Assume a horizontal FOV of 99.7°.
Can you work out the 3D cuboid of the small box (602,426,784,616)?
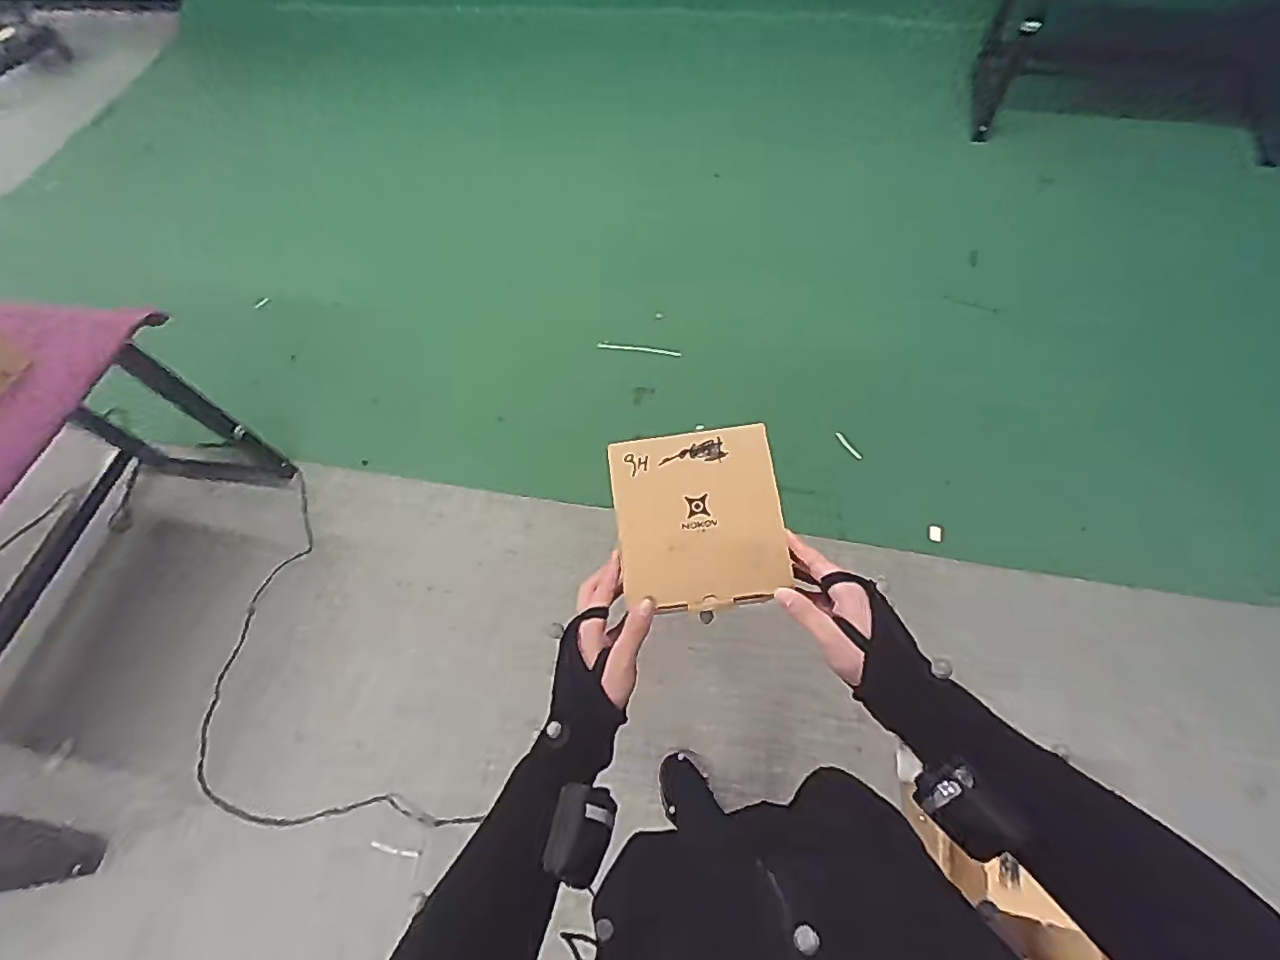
[{"bbox_3d":[0.056,0.056,0.616,0.168,0.176,0.179,-8,75,2],"label":"small box"}]
